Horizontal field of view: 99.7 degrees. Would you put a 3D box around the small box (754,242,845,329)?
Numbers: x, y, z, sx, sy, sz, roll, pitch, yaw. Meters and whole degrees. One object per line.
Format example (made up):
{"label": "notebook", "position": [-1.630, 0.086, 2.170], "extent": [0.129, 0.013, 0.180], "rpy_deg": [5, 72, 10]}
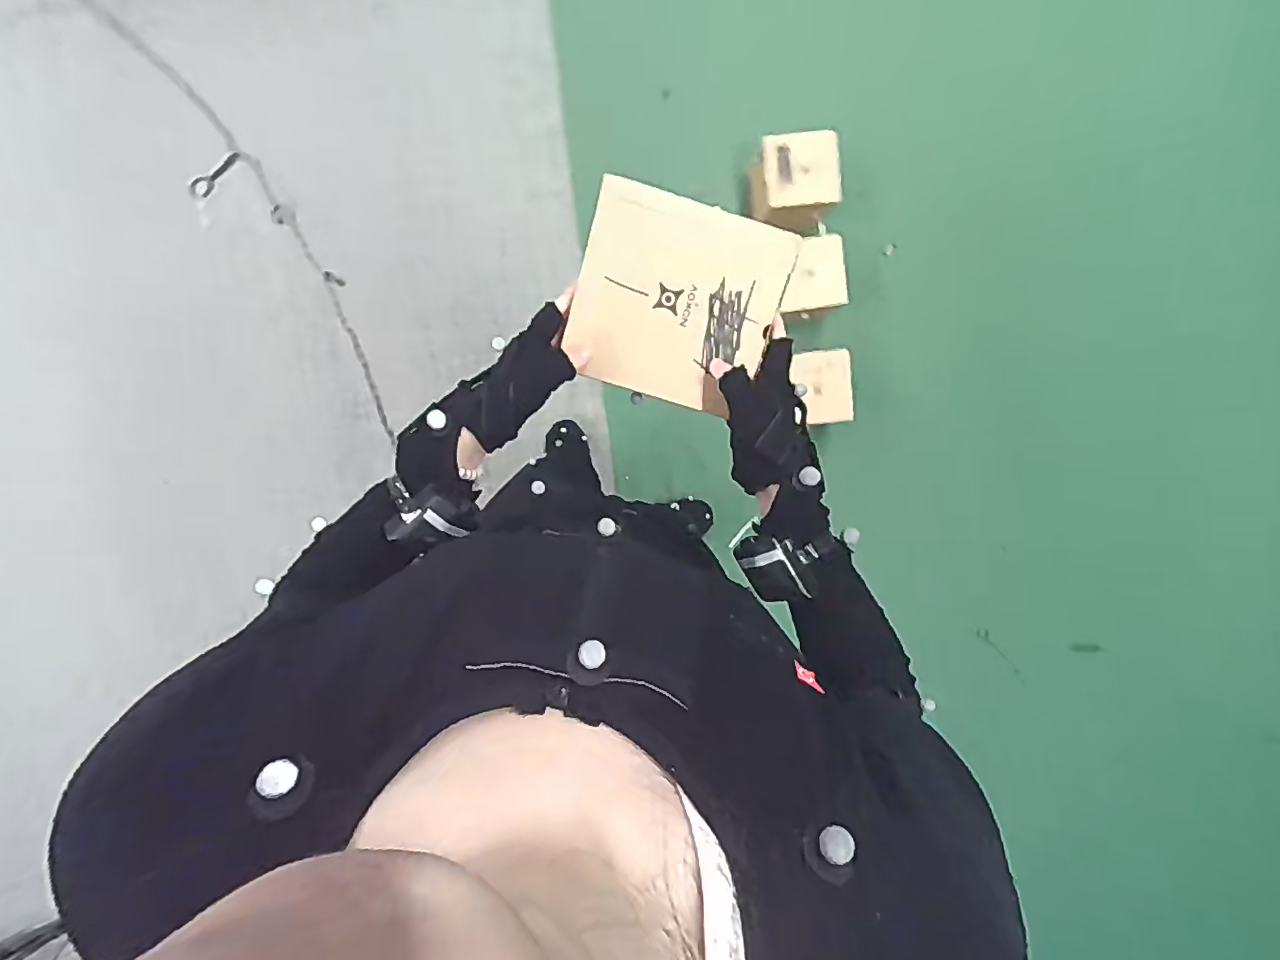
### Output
{"label": "small box", "position": [0.406, -0.495, 1.396], "extent": [0.179, 0.176, 0.168], "rpy_deg": [-8, 94, 1]}

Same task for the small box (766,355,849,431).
{"label": "small box", "position": [0.432, -0.222, 1.413], "extent": [0.168, 0.176, 0.179], "rpy_deg": [-5, 95, 0]}
